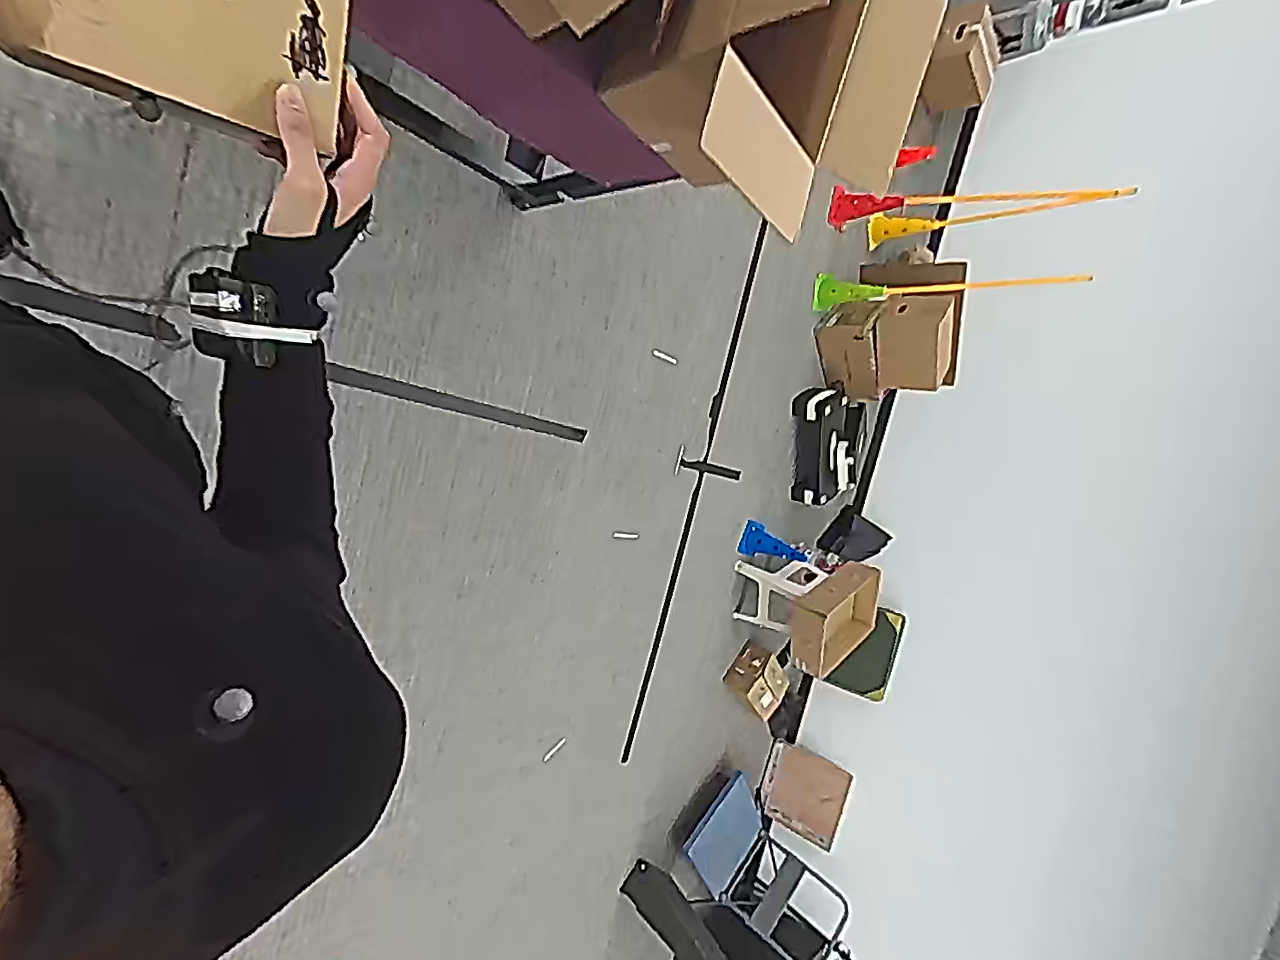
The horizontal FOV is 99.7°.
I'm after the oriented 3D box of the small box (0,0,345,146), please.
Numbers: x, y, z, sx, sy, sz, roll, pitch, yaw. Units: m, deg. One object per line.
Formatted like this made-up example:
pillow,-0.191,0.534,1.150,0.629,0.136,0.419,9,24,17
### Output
small box,-0.324,-0.354,0.375,0.179,0.176,0.168,-1,115,-44
